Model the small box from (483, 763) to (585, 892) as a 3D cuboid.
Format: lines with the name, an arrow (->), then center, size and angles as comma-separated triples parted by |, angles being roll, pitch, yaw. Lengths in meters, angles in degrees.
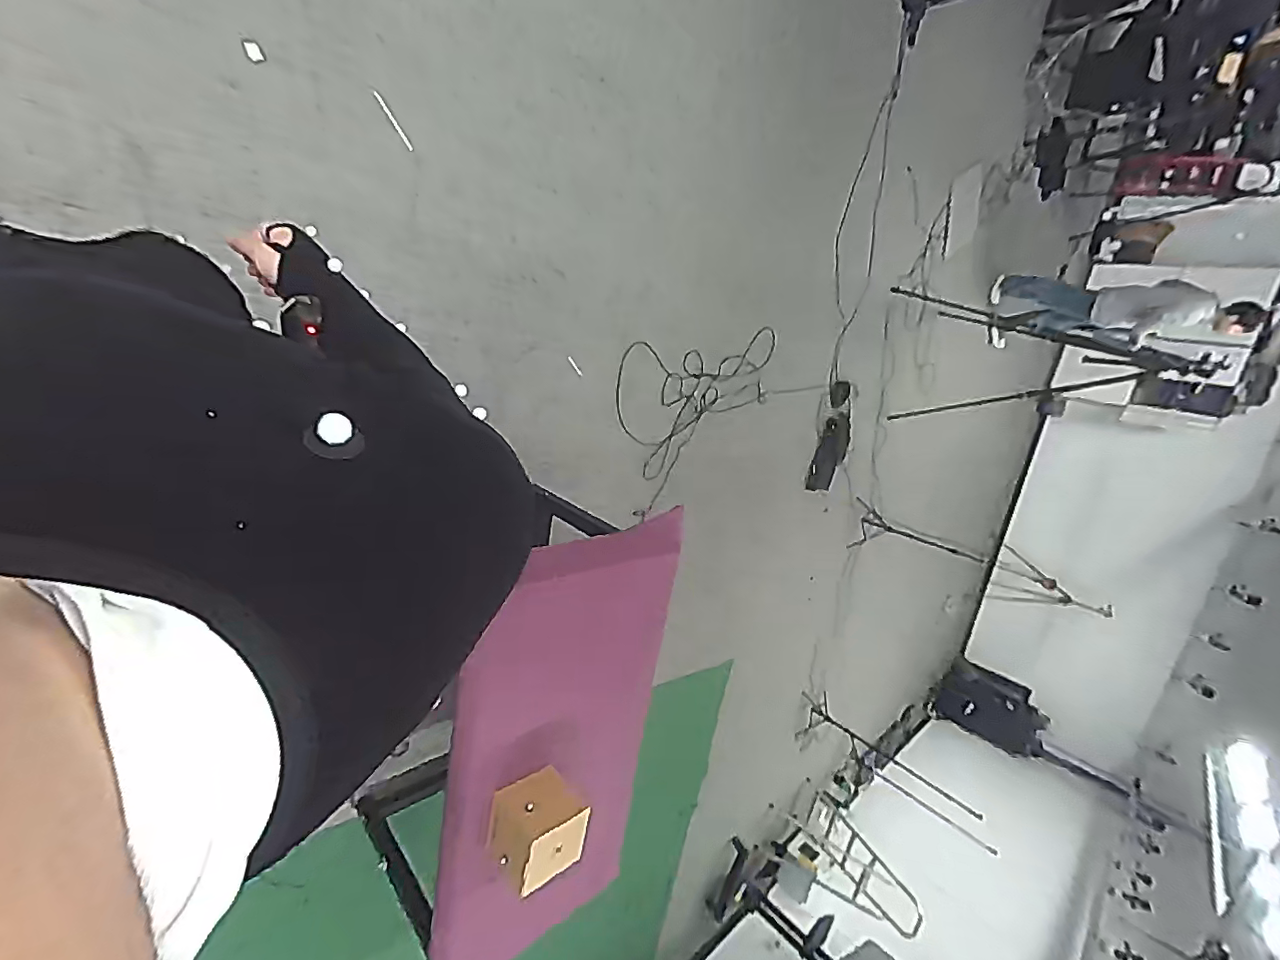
small box -> -0.267, 0.850, 1.341 | 0.179, 0.176, 0.168 | -2, 109, -47
